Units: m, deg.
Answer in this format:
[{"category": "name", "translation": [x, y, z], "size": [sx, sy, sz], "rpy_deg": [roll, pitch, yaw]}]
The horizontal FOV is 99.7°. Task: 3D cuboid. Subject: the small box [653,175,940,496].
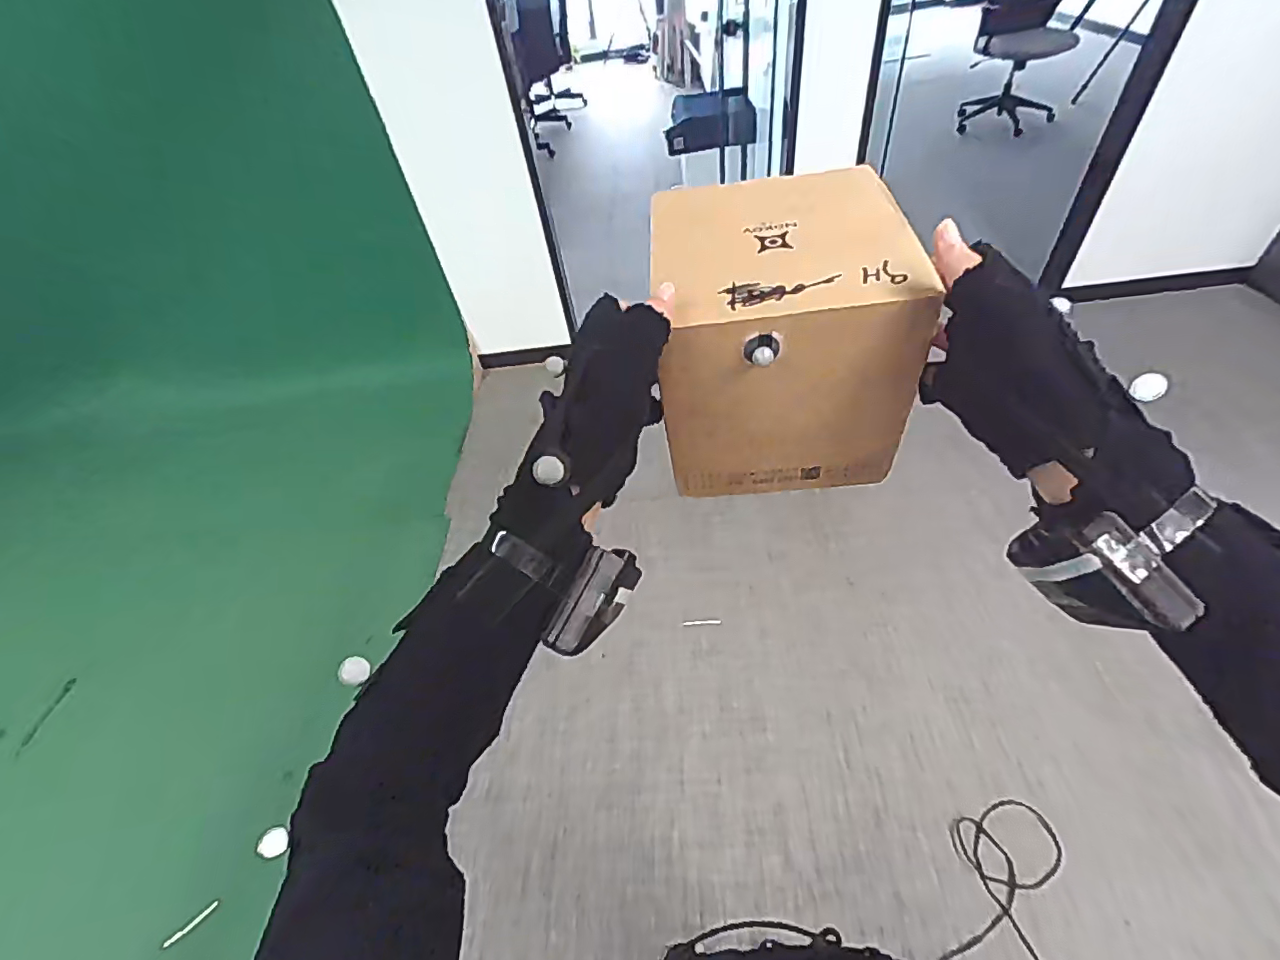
[{"category": "small box", "translation": [0.102, -0.108, 0.425], "size": [0.168, 0.176, 0.179], "rpy_deg": [-5, 50, 8]}]
